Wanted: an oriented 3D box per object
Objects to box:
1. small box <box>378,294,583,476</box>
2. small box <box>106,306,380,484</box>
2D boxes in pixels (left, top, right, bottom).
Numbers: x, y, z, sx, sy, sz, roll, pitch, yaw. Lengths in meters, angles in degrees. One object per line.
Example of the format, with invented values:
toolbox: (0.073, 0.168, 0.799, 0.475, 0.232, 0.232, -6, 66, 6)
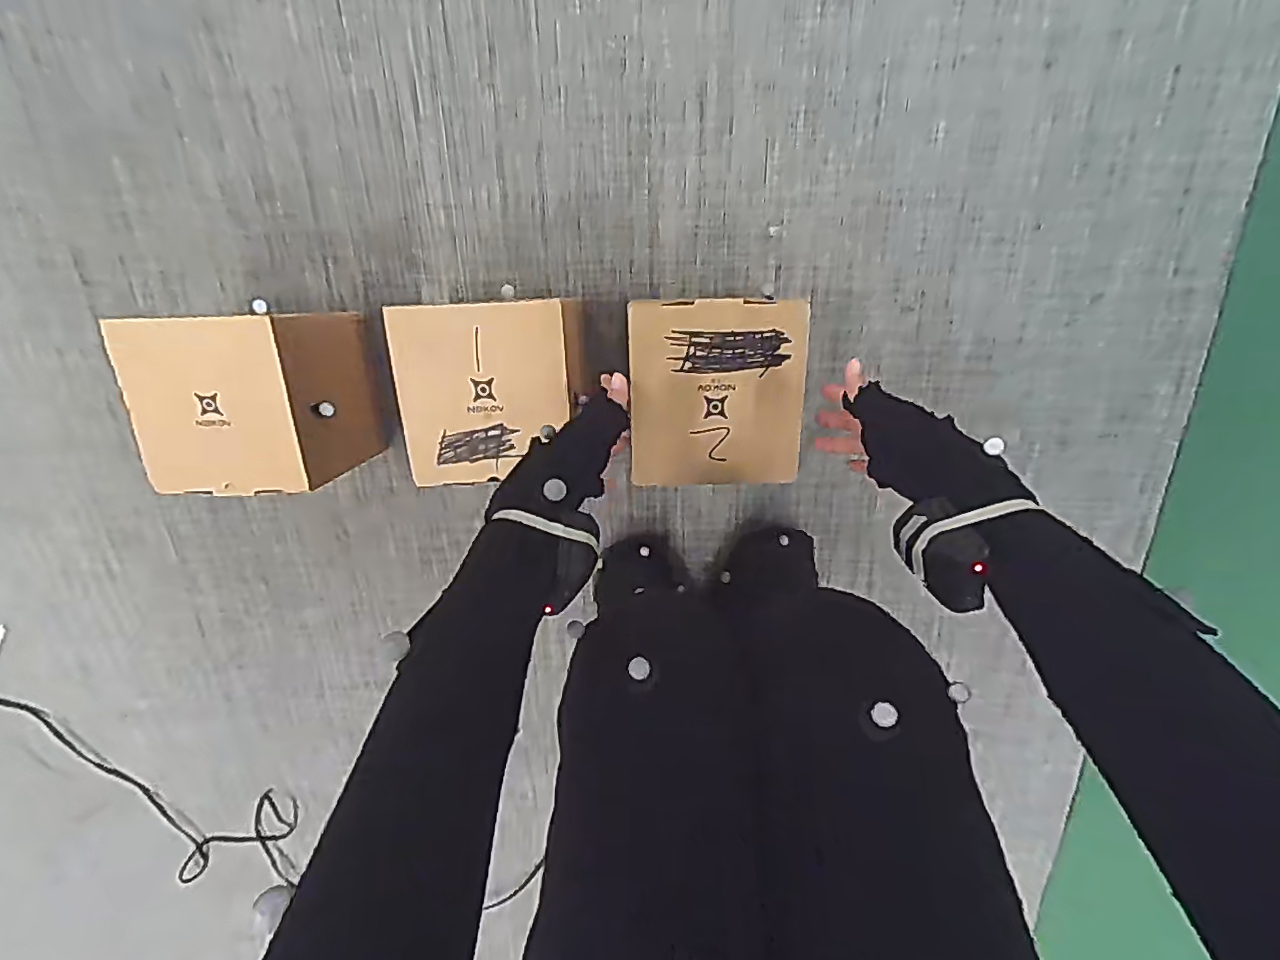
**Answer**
small box: (-0.159, -0.113, 0.603, 0.168, 0.176, 0.179, -2, 108, 2)
small box: (-0.425, -0.104, 0.616, 0.168, 0.176, 0.179, -1, 109, 2)
